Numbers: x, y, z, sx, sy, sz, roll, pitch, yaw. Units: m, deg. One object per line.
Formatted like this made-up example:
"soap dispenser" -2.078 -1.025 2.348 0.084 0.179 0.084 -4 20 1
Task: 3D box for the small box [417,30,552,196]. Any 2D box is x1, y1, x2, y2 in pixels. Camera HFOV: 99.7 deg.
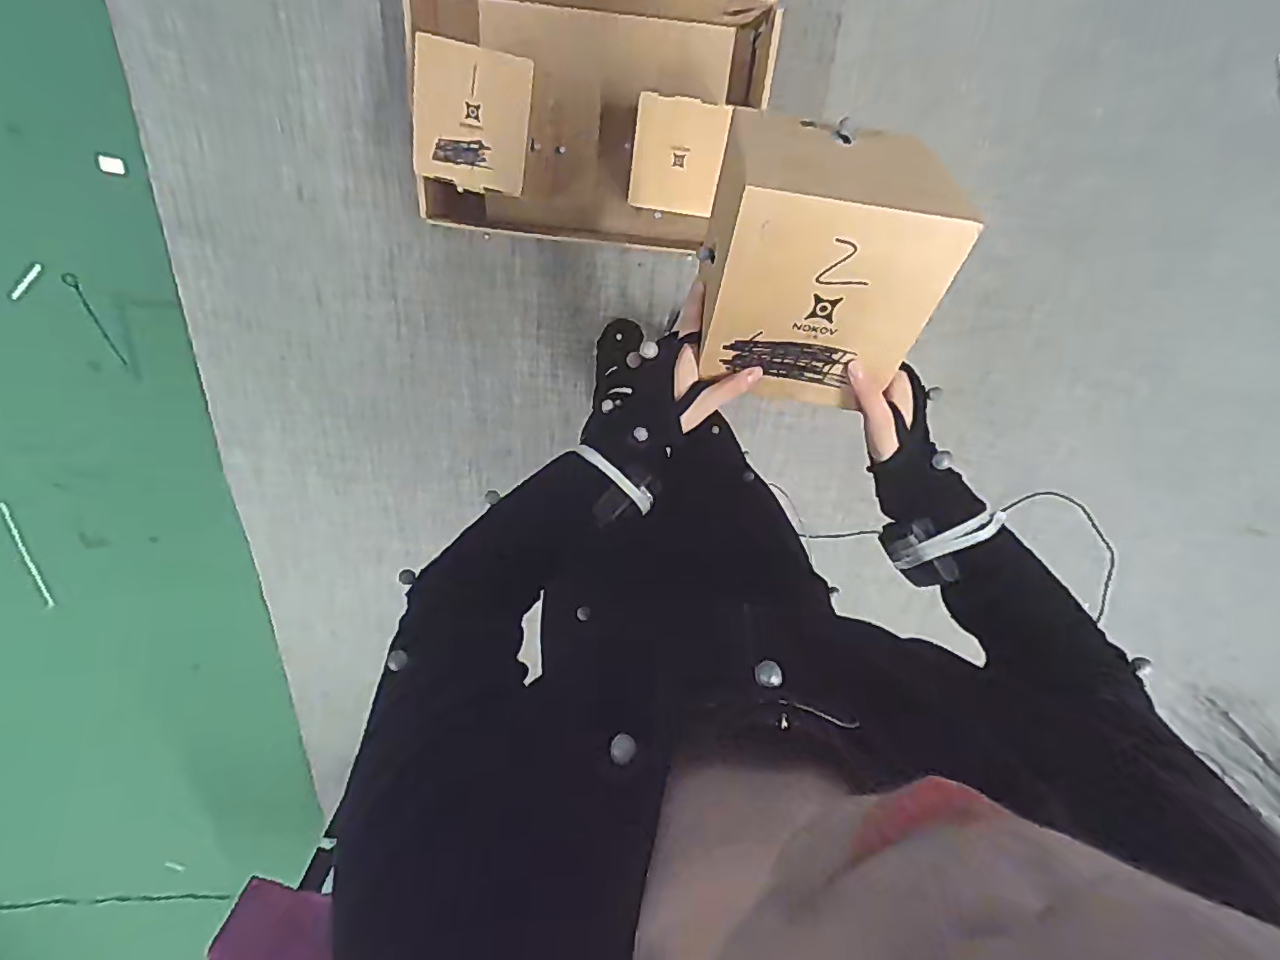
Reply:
"small box" -0.239 -0.561 0.855 0.168 0.176 0.179 10 115 -6
